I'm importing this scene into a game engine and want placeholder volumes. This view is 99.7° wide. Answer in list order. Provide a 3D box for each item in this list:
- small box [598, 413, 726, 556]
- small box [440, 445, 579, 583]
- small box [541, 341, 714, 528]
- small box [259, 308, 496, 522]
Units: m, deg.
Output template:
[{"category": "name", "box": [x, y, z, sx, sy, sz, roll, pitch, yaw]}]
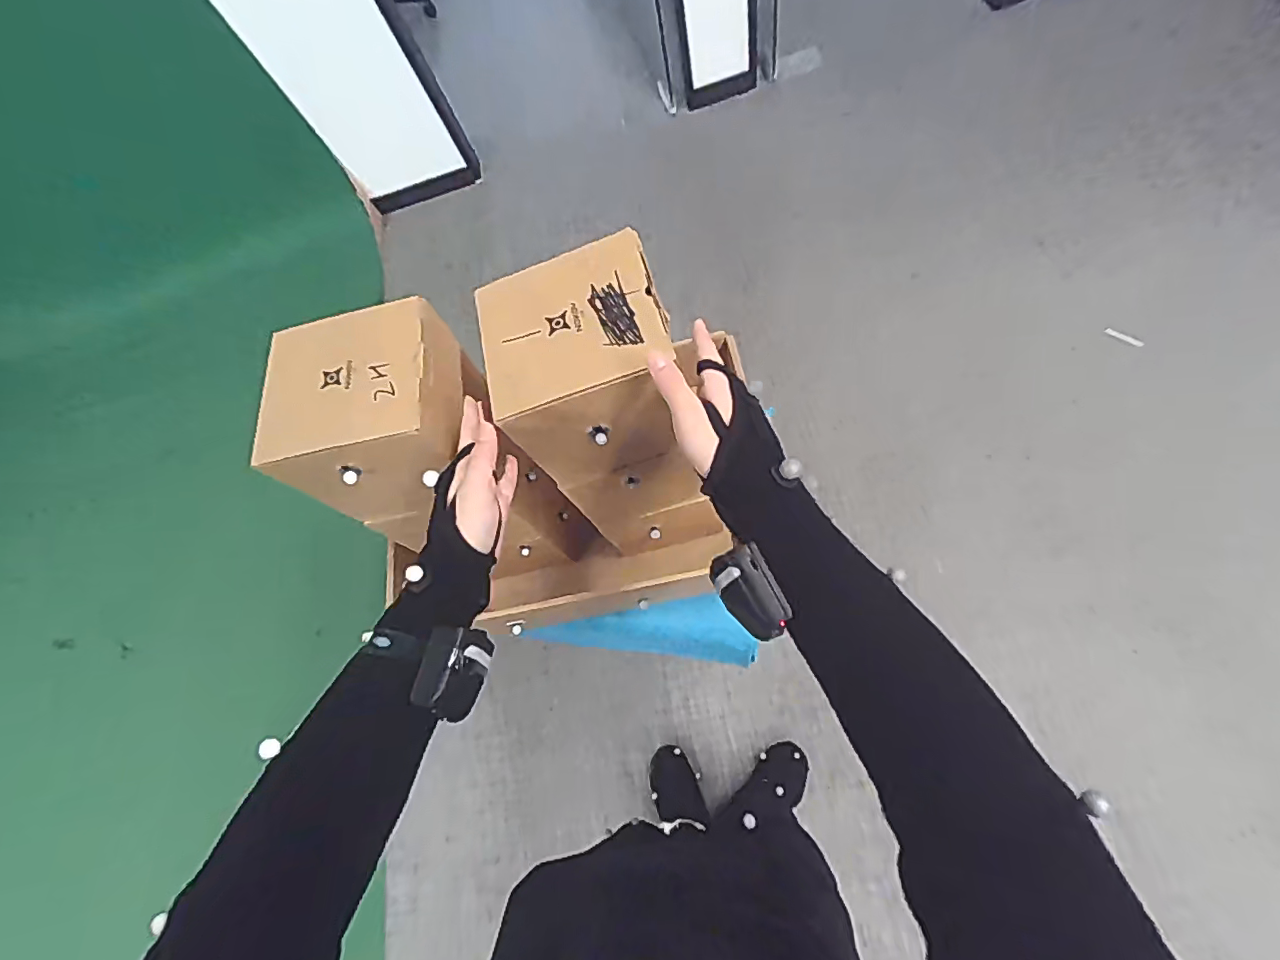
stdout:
[{"category": "small box", "box": [0.029, 0.012, 0.878, 0.179, 0.176, 0.168, -17, 65, 8]}, {"category": "small box", "box": [-0.218, 0.066, 0.920, 0.179, 0.176, 0.168, -13, 65, 6]}, {"category": "small box", "box": [-0.012, -0.051, 0.732, 0.179, 0.176, 0.168, -18, 65, 7]}, {"category": "small box", "box": [-0.284, -0.062, 0.624, 0.179, 0.176, 0.168, -11, 65, 7]}]
